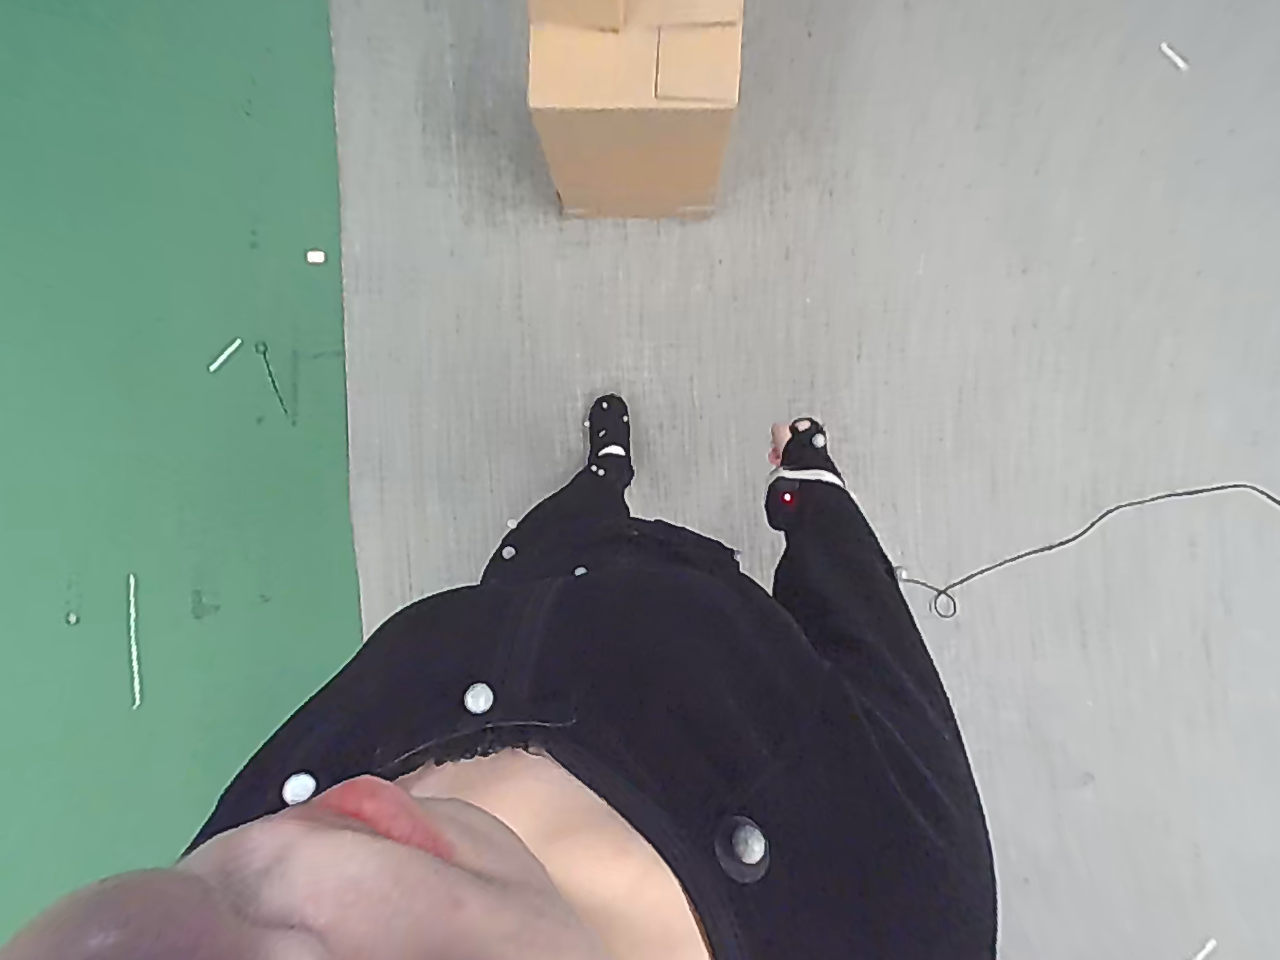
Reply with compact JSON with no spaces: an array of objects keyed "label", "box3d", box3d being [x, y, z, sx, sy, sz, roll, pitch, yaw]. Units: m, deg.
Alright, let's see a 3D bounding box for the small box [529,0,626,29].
[{"label":"small box","box3d":[-0.112,-0.941,0.945,0.179,0.176,0.168,7,90,2]}]
